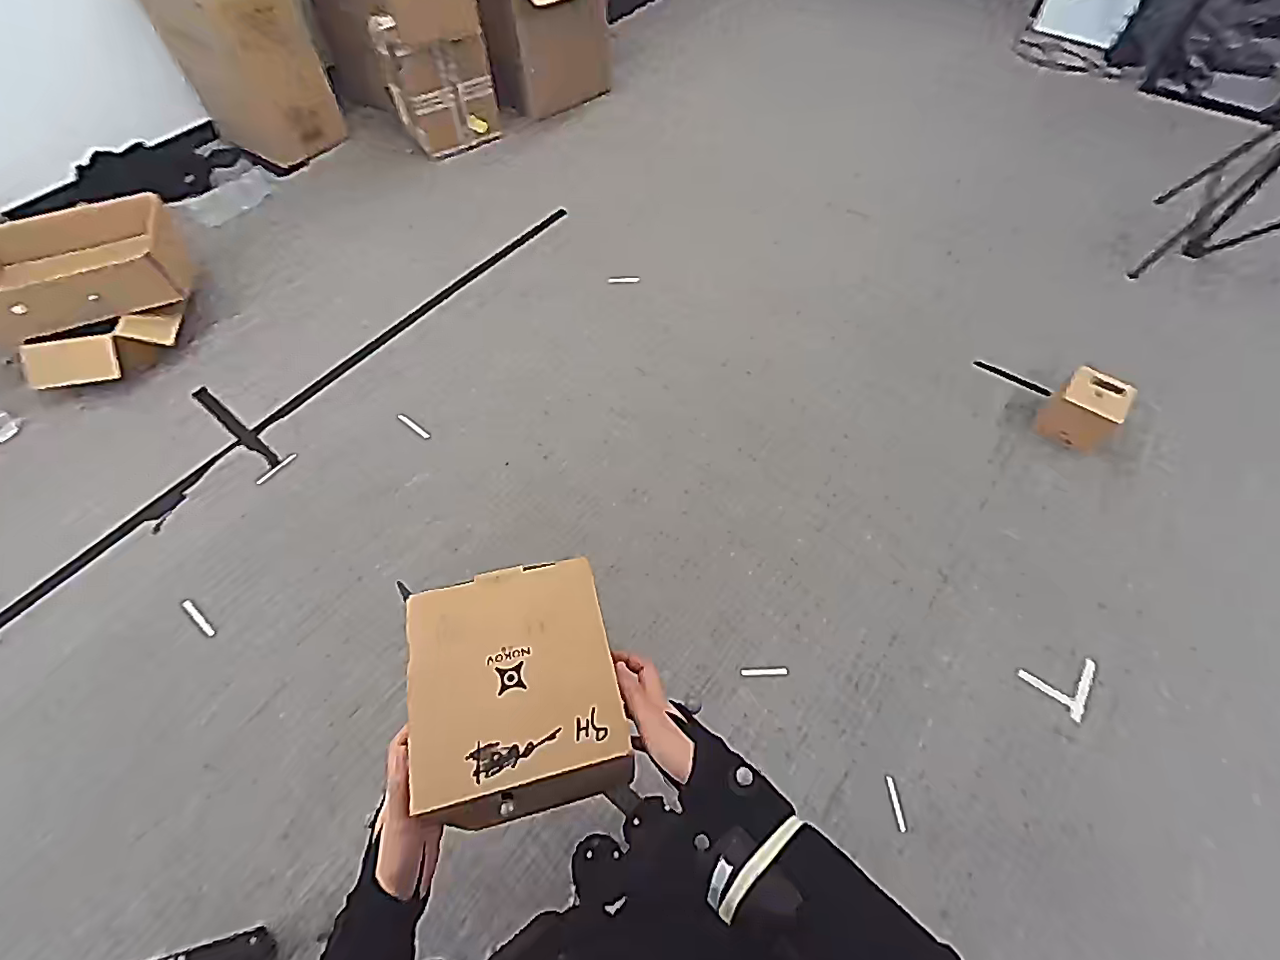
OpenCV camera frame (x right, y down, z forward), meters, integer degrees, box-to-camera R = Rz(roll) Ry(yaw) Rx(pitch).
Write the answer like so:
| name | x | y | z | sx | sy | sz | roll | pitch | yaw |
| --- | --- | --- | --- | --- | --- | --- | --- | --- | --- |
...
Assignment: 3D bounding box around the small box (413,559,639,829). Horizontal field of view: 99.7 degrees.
| name | x | y | z | sx | sy | sz | roll | pitch | yaw |
| --- | --- | --- | --- | --- | --- | --- | --- | --- | --- |
| small box | -0.101 | 0.201 | 0.506 | 0.168 | 0.176 | 0.179 | -11 | 55 | -9 |
